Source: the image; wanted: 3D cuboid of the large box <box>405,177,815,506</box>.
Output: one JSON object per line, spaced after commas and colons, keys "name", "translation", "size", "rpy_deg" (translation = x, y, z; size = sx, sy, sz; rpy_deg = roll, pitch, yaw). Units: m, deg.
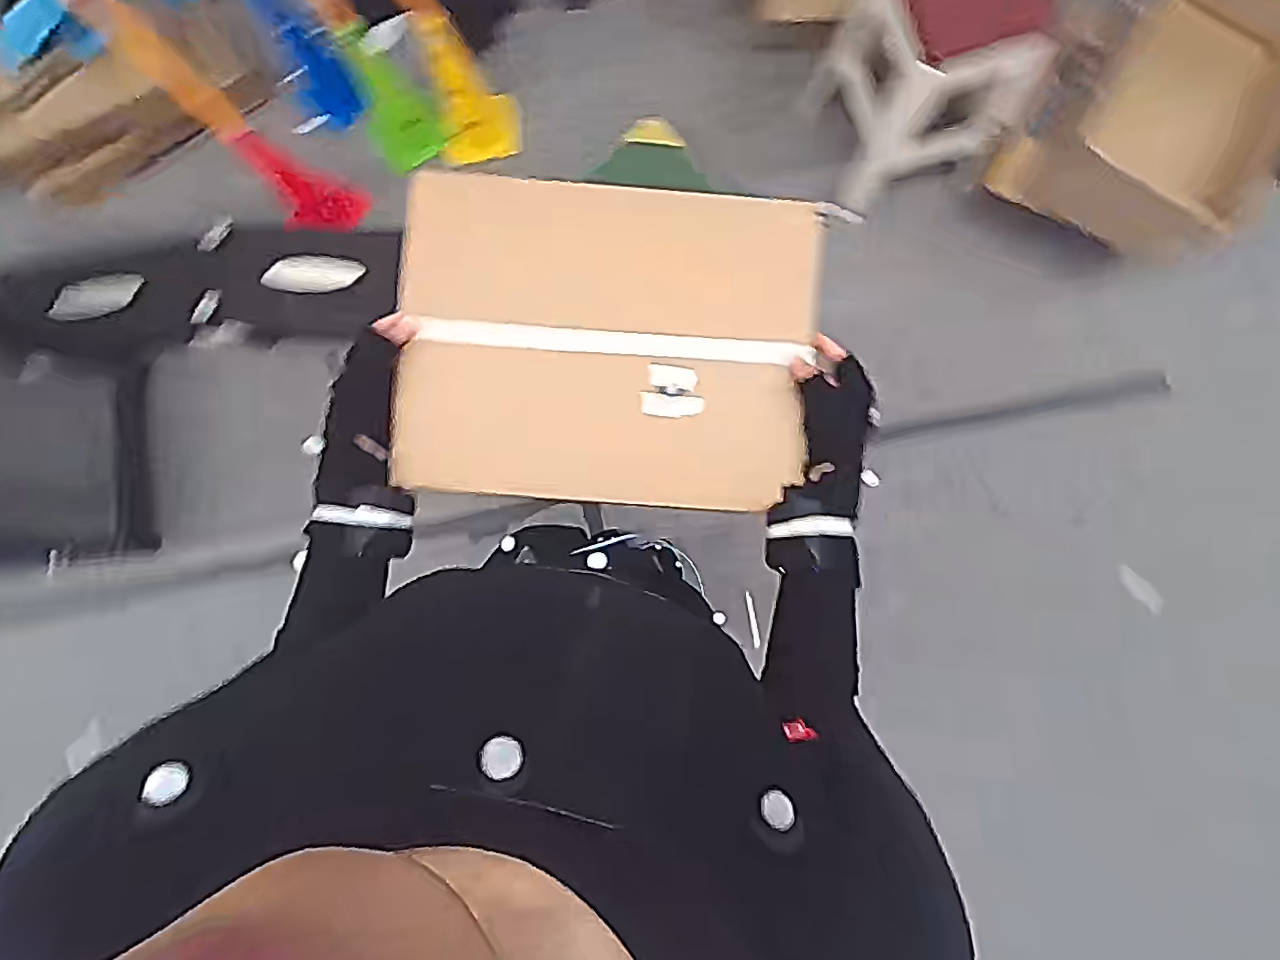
{"name": "large box", "translation": [-0.035, -0.135, 0.693], "size": [0.408, 0.320, 0.320], "rpy_deg": [5, 89, -2]}
